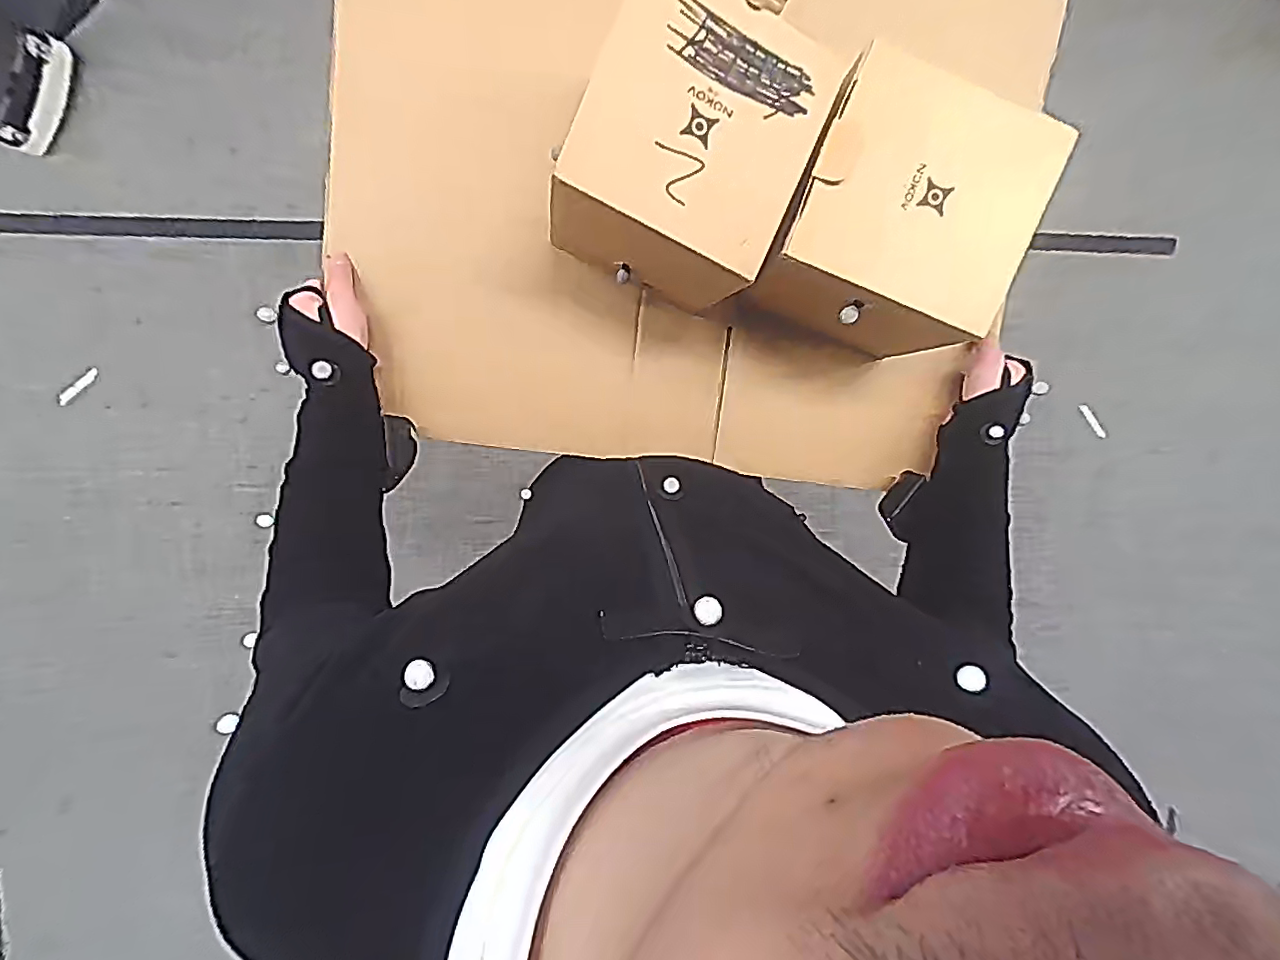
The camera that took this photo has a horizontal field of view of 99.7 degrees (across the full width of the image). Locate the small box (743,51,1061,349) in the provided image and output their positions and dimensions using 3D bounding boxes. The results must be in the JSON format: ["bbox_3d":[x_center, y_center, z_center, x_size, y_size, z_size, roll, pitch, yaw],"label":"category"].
[{"bbox_3d":[0.217,-0.231,0.502,0.179,0.176,0.168,21,96,-3],"label":"small box"}]
